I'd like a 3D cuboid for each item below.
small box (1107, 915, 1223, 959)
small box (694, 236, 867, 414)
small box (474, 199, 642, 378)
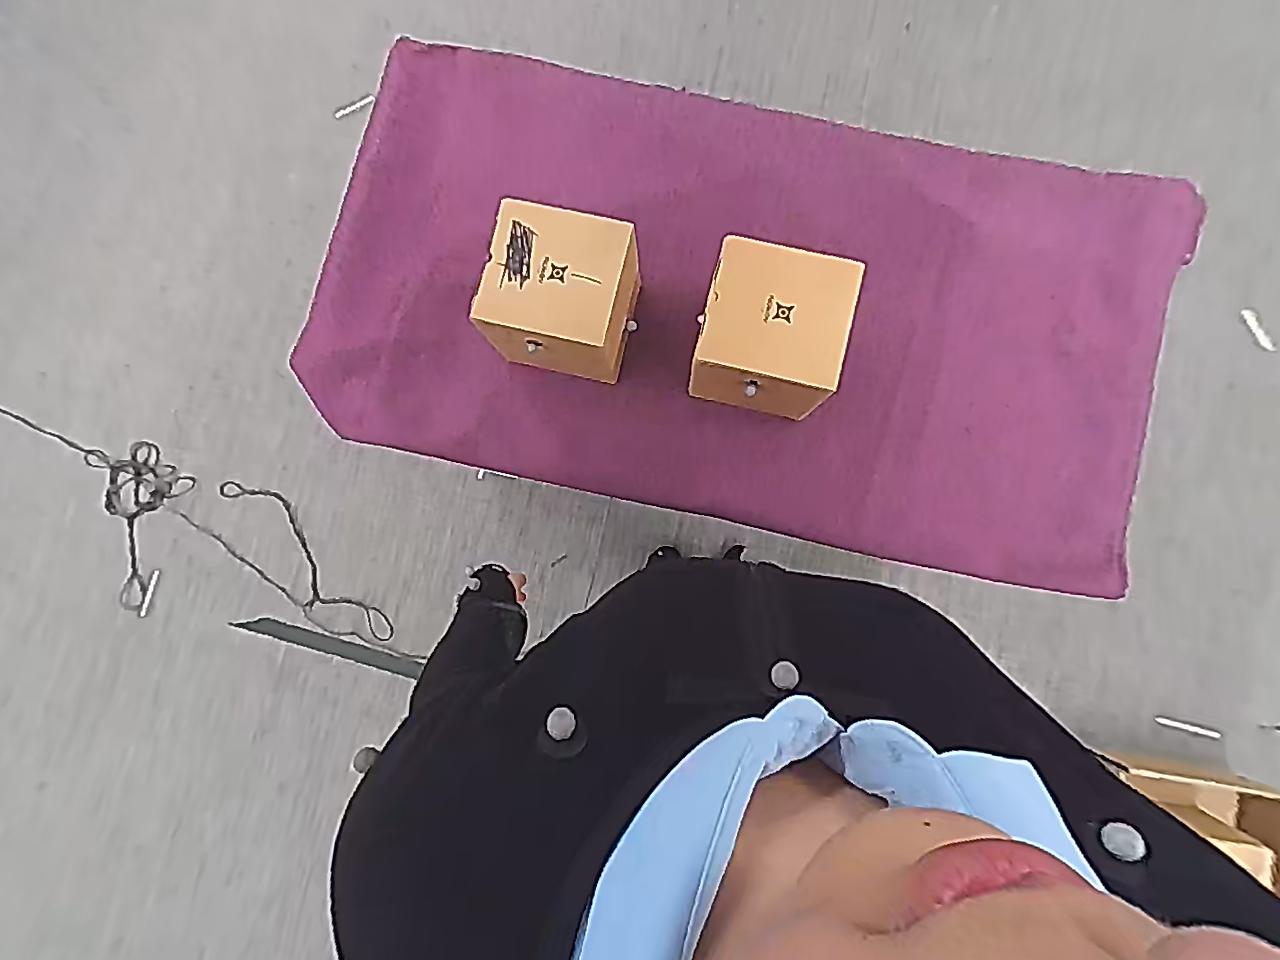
[{"bbox_3d":[1.205,1.136,1.221,0.179,0.176,0.168,10,85,3],"label":"small box"},{"bbox_3d":[0.177,-0.197,0.735,0.179,0.176,0.168,14,85,5],"label":"small box"},{"bbox_3d":[-0.102,-0.254,0.756,0.179,0.176,0.168,13,86,4],"label":"small box"}]
